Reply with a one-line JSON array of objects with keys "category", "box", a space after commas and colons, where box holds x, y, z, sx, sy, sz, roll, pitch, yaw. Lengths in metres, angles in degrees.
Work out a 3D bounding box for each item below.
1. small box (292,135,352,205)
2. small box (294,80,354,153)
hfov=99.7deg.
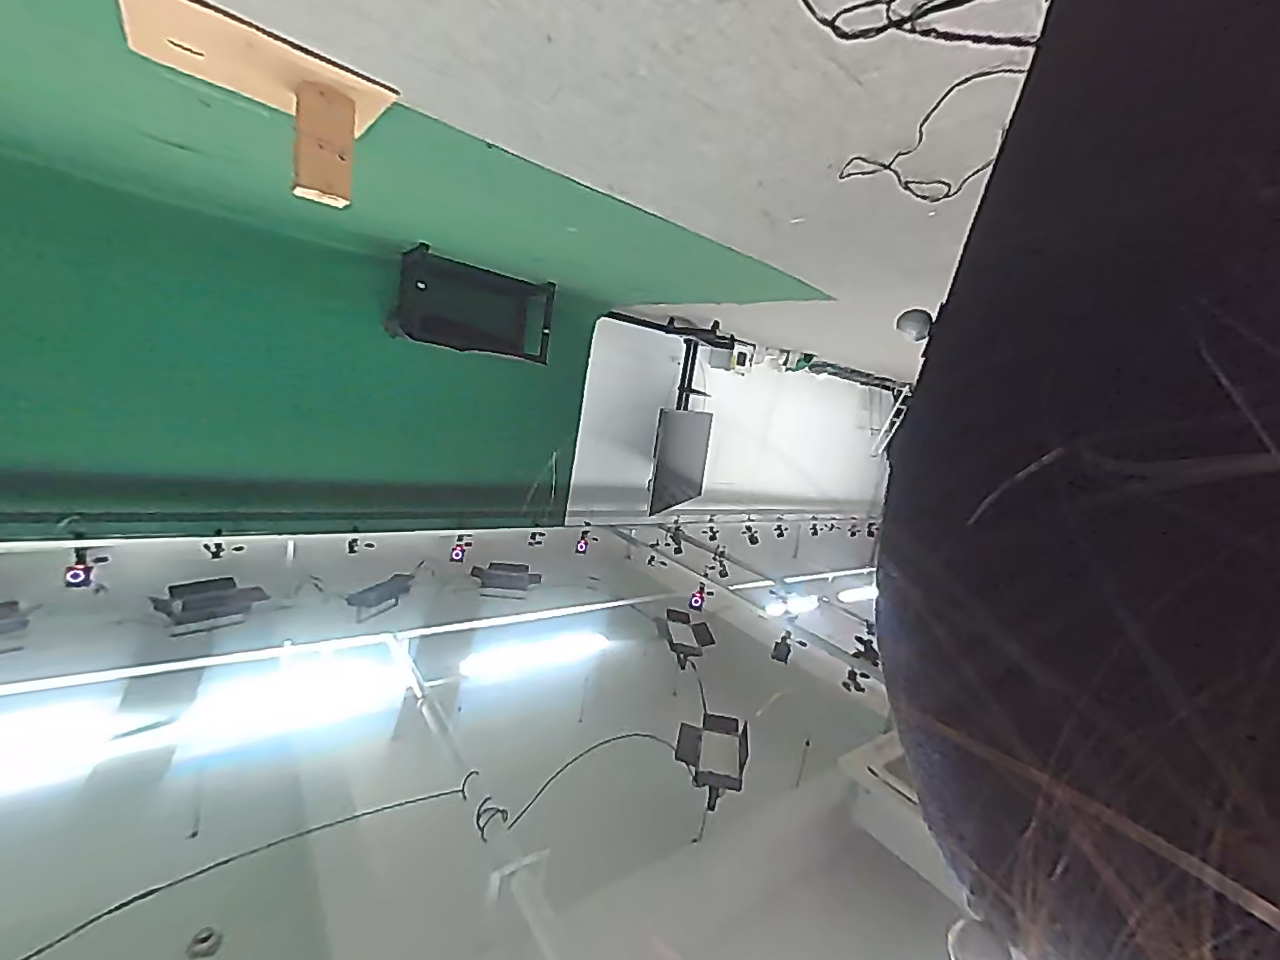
[{"category": "small box", "box": [-1.156, -1.125, 1.965, 0.168, 0.176, 0.179, 0, -166, -41]}, {"category": "small box", "box": [-1.130, -1.284, 1.935, 0.168, 0.176, 0.179, 0, -167, -39]}]
